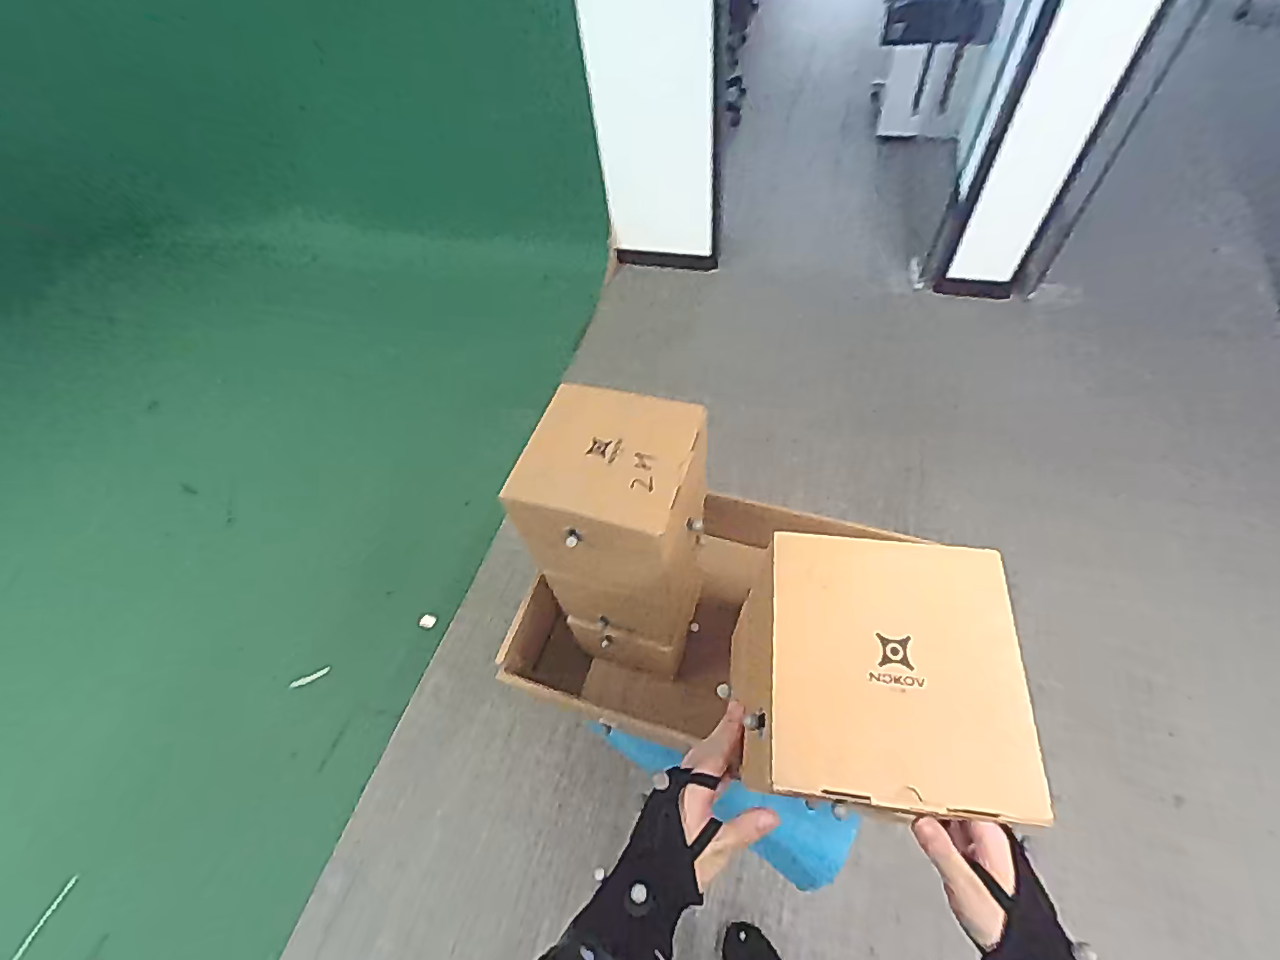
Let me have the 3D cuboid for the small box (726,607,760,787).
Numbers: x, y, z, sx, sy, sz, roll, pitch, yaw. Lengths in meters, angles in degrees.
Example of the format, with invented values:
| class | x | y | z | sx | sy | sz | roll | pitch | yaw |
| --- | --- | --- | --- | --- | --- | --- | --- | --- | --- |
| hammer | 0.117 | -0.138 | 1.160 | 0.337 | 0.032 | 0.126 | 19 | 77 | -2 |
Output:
| class | x | y | z | sx | sy | sz | roll | pitch | yaw |
| --- | --- | --- | --- | --- | --- | --- | --- | --- | --- |
| small box | 0.190 | 0.241 | 0.572 | 0.179 | 0.176 | 0.168 | 4 | 61 | 7 |

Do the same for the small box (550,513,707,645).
| class | x | y | z | sx | sy | sz | roll | pitch | yaw |
| --- | --- | --- | --- | --- | --- | --- | --- | --- | --- |
| small box | -0.005 | 0.106 | 0.763 | 0.168 | 0.176 | 0.179 | 13 | 58 | 15 |

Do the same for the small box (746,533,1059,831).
| class | x | y | z | sx | sy | sz | roll | pitch | yaw |
| --- | --- | --- | --- | --- | --- | --- | --- | --- | --- |
| small box | 0.177 | 0.161 | 0.432 | 0.168 | 0.176 | 0.179 | 4 | 62 | 6 |

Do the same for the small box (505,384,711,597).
| class | x | y | z | sx | sy | sz | roll | pitch | yaw |
| --- | --- | --- | --- | --- | --- | --- | --- | --- | --- |
| small box | -0.023 | 0.016 | 0.627 | 0.179 | 0.176 | 0.168 | 13 | 58 | 15 |

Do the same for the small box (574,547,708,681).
| class | x | y | z | sx | sy | sz | roll | pitch | yaw |
| --- | --- | --- | --- | --- | --- | --- | --- | --- | --- |
| small box | 0.010 | 0.204 | 0.892 | 0.168 | 0.176 | 0.179 | 12 | 57 | 16 |
